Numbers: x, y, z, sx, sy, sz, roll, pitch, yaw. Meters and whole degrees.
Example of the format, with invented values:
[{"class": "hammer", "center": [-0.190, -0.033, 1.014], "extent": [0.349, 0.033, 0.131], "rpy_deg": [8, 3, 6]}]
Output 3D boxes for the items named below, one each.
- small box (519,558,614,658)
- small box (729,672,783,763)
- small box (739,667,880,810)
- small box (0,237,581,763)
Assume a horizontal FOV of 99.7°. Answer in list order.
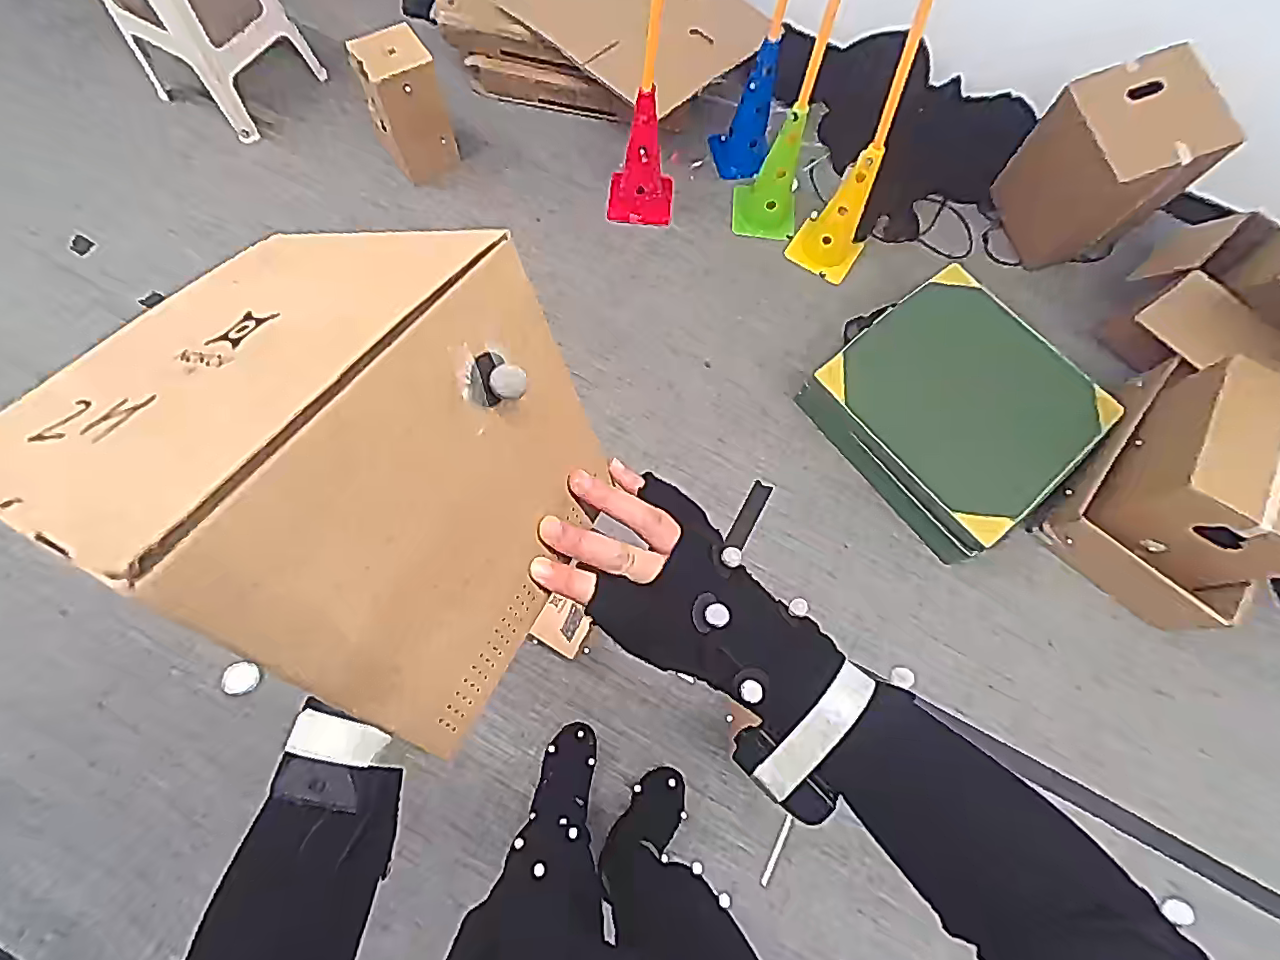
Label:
[{"class": "small box", "center": [-0.171, 0.289, 1.239], "extent": [0.179, 0.176, 0.168], "rpy_deg": [30, 73, 8]}, {"class": "small box", "center": [0.300, 0.516, 1.191], "extent": [0.179, 0.176, 0.168], "rpy_deg": [-3, 72, -5]}, {"class": "small box", "center": [0.307, 0.478, 1.030], "extent": [0.179, 0.176, 0.168], "rpy_deg": [-36, 79, -14]}, {"class": "small box", "center": [-0.149, 0.006, 0.271], "extent": [0.168, 0.176, 0.179], "rpy_deg": [16, 59, 29]}]
